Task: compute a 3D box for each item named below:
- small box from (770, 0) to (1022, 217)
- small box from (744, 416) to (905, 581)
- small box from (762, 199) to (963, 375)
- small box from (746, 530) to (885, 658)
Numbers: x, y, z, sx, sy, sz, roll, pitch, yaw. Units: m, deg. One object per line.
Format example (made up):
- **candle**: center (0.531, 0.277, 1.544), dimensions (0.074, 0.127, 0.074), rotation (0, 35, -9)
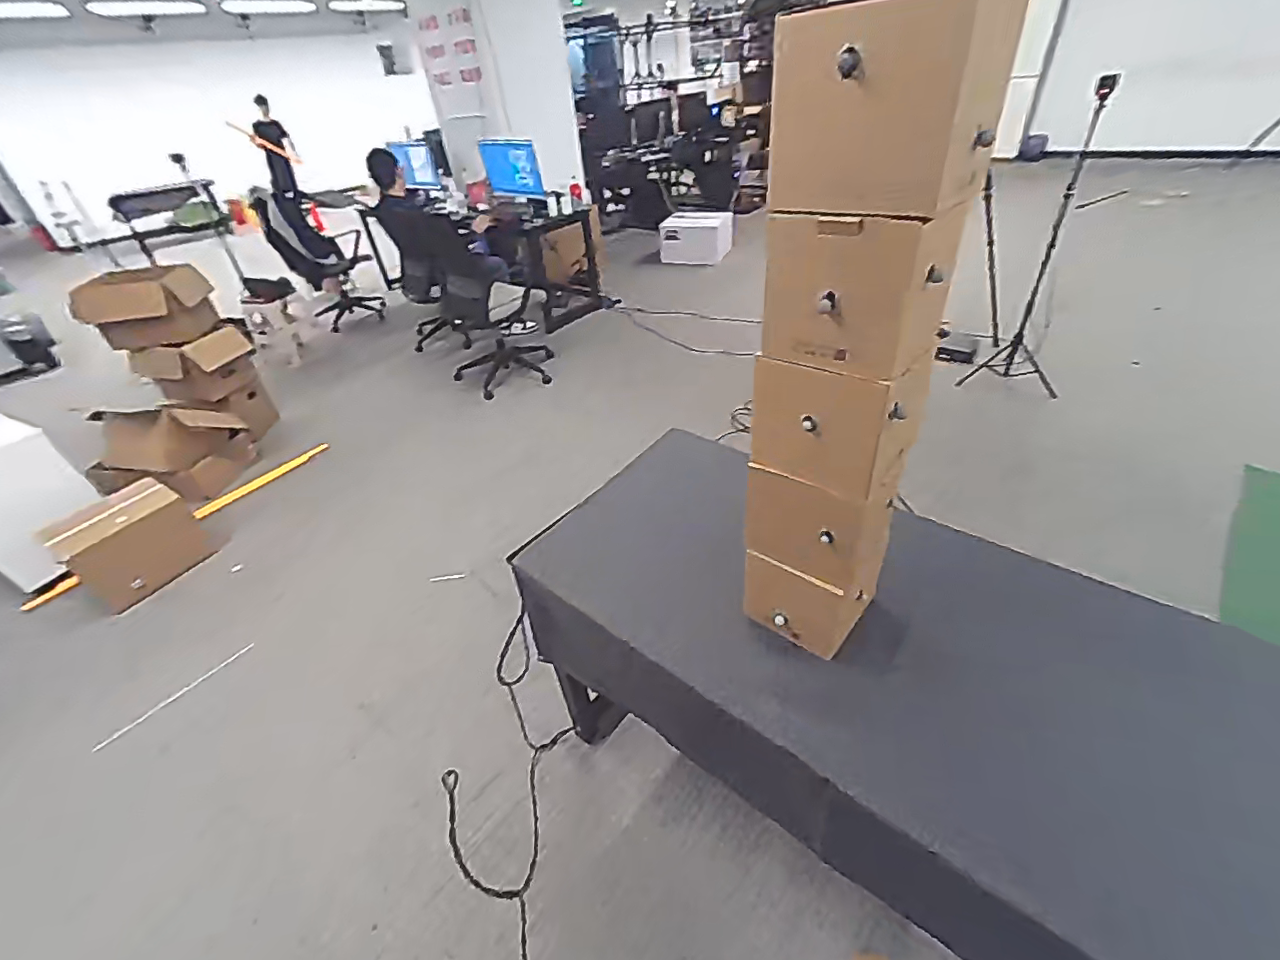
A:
- **small box**: center (0.248, -0.375, 0.553), dimensions (0.179, 0.176, 0.168), rotation (23, 45, 35)
- **small box**: center (0.276, 0.029, 0.833), dimensions (0.179, 0.176, 0.168), rotation (22, 44, 33)
- **small box**: center (0.261, -0.244, 0.654), dimensions (0.168, 0.176, 0.179), rotation (23, 45, 34)
- **small box**: center (0.292, 0.163, 0.926), dimensions (0.168, 0.176, 0.179), rotation (24, 47, 35)
